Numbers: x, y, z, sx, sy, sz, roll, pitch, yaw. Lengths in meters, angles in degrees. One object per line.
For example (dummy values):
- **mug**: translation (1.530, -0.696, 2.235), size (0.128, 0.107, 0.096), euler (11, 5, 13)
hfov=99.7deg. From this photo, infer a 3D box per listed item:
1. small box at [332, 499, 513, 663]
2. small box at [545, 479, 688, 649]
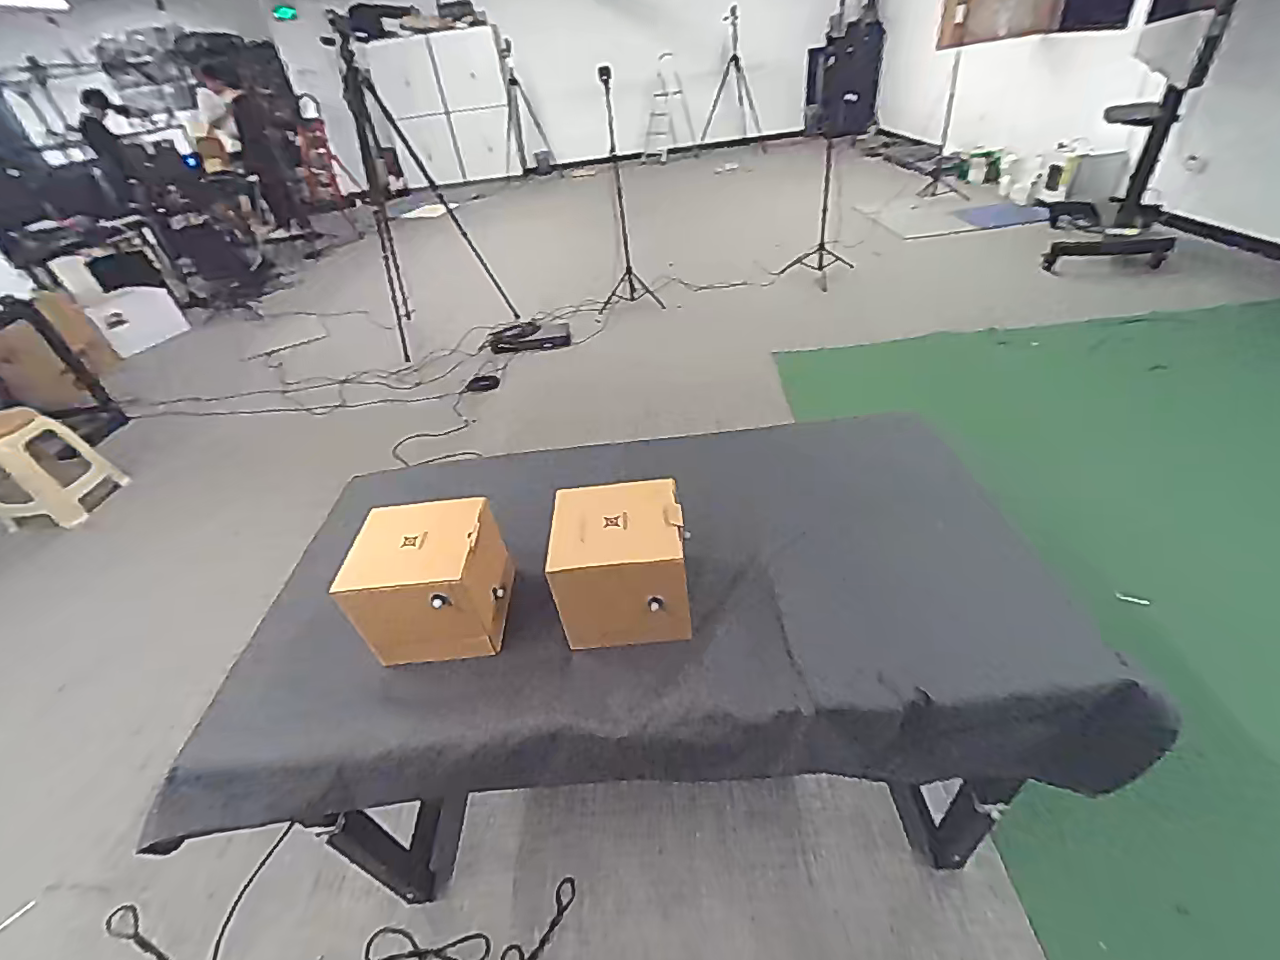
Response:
- **small box**: translation (-0.304, 0.151, 0.799), size (0.179, 0.176, 0.168), euler (-6, 37, 2)
- **small box**: translation (-0.025, 0.122, 0.781), size (0.179, 0.176, 0.168), euler (-8, 36, 3)
